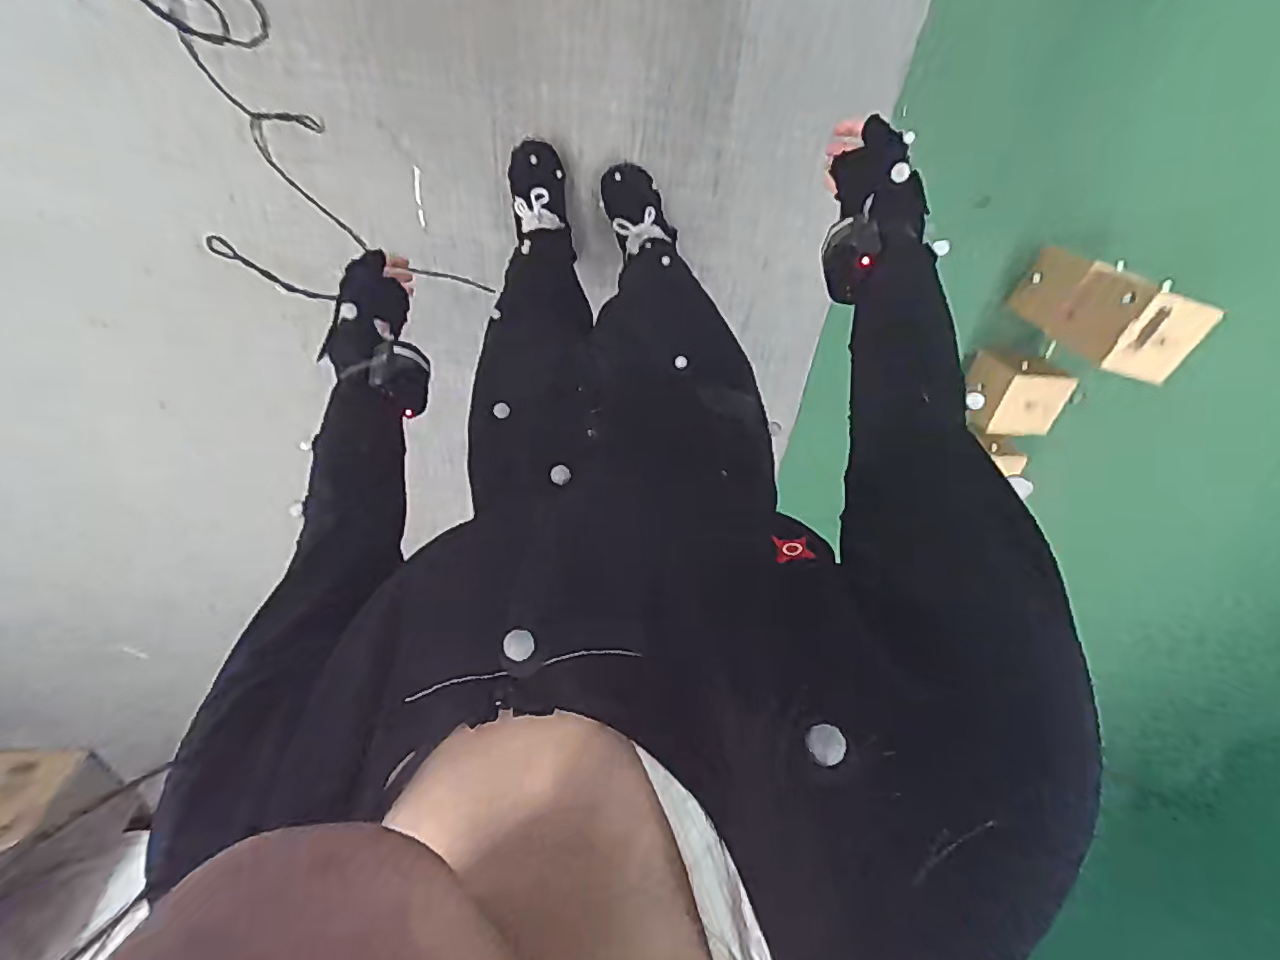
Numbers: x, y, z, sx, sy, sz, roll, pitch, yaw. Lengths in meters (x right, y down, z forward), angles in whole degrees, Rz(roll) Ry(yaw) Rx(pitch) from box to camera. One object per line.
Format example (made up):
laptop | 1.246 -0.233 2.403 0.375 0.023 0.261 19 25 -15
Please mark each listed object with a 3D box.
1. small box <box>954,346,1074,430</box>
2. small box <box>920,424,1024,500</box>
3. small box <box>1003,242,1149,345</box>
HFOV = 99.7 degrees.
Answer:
small box | 0.996 -0.252 1.460 0.179 0.176 0.168 1 128 -6
small box | 0.981 -0.056 1.613 0.179 0.176 0.168 -1 127 -4
small box | 1.042 -0.455 1.308 0.179 0.176 0.168 12 125 -12
